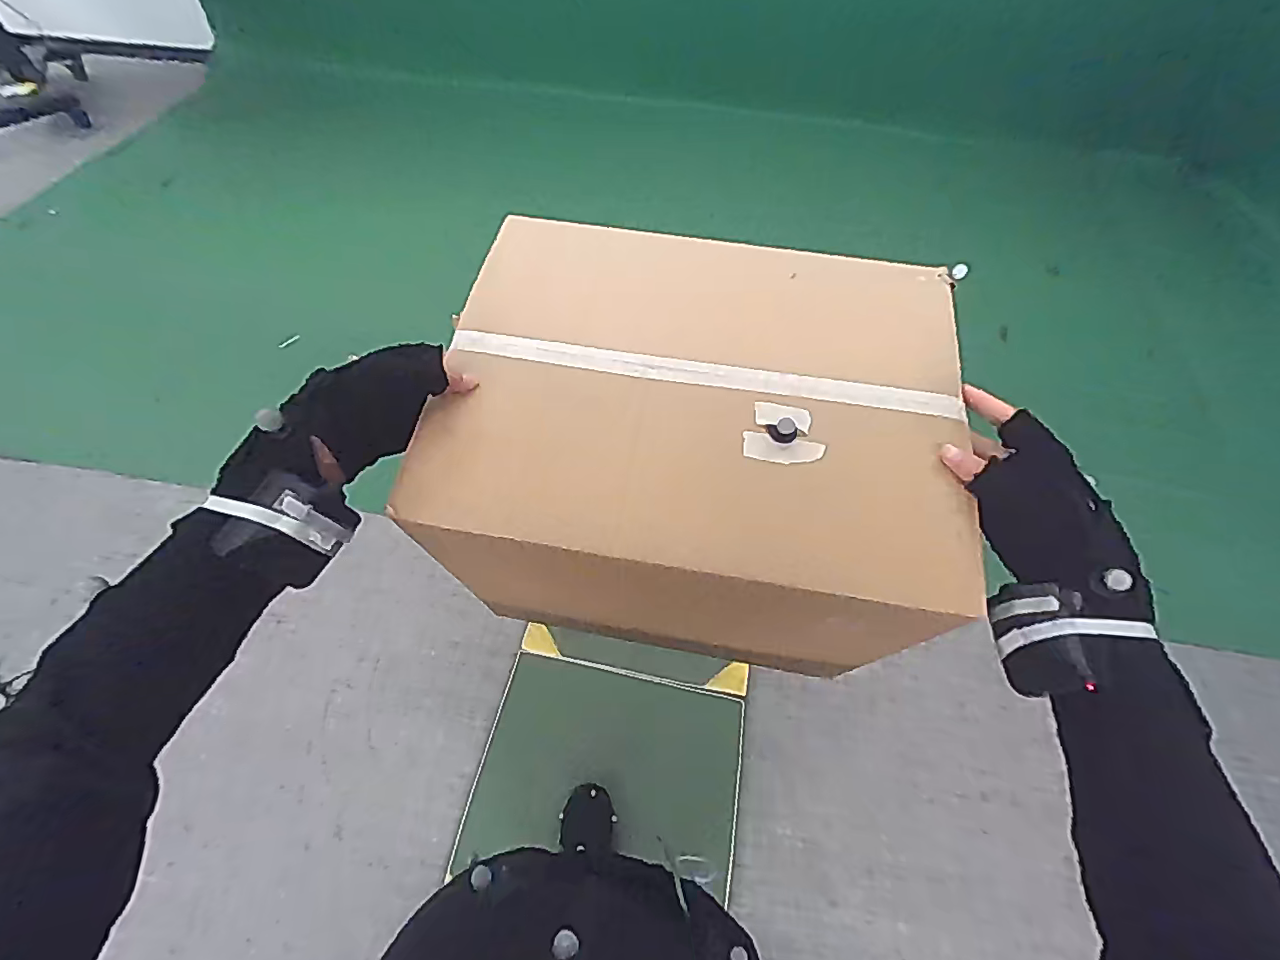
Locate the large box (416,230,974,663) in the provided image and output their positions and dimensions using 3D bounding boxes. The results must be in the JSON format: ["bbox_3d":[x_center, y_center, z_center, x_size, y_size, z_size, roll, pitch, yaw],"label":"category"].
[{"bbox_3d":[0.051,-0.014,0.576,0.408,0.320,0.320,9,64,4],"label":"large box"}]
